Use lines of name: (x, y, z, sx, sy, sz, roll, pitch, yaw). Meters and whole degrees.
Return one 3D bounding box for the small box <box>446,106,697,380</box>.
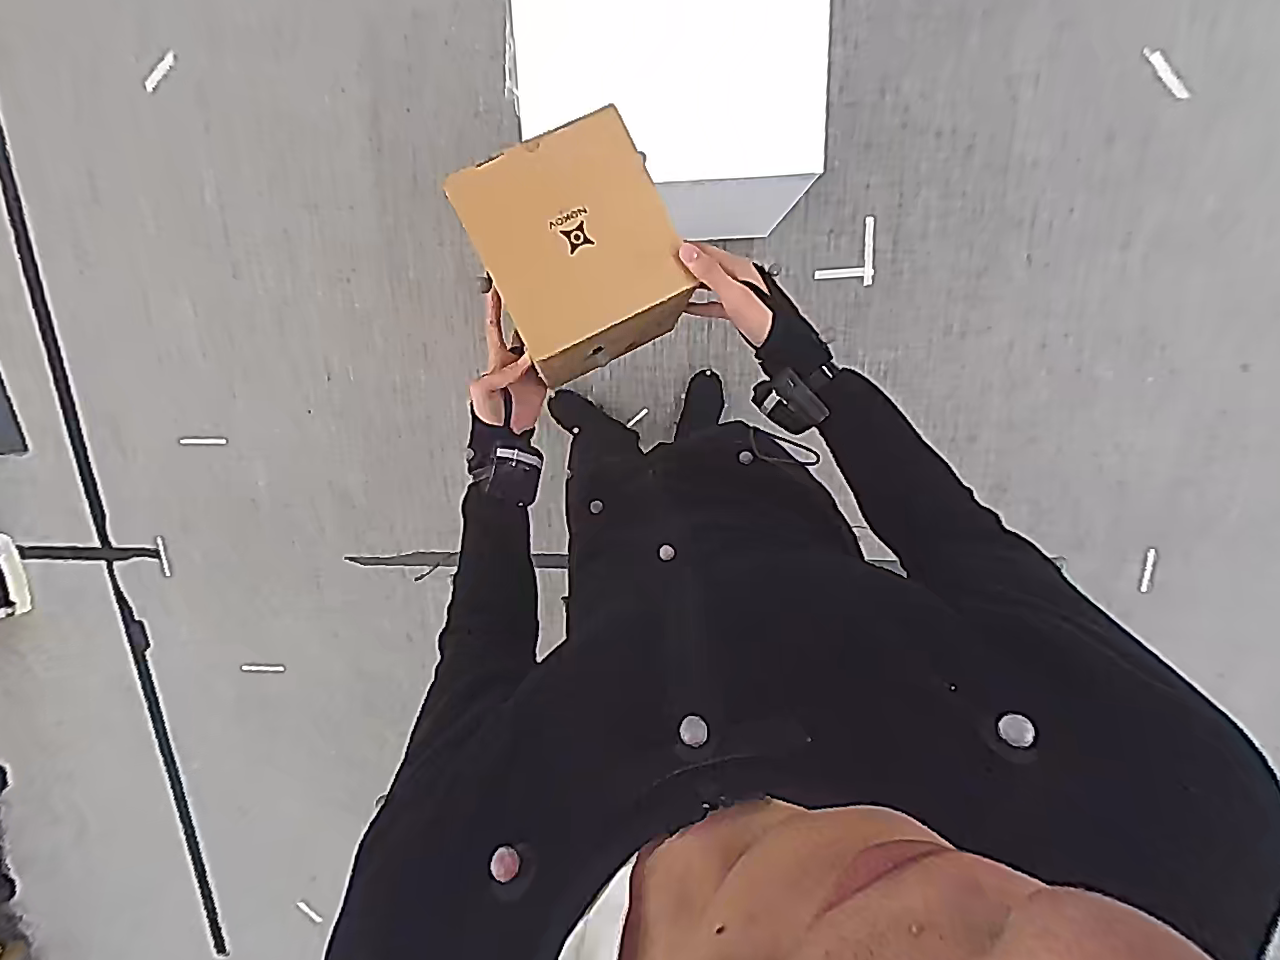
small box: (-0.062, -0.214, 0.547, 0.168, 0.176, 0.179, -27, 92, -4)
